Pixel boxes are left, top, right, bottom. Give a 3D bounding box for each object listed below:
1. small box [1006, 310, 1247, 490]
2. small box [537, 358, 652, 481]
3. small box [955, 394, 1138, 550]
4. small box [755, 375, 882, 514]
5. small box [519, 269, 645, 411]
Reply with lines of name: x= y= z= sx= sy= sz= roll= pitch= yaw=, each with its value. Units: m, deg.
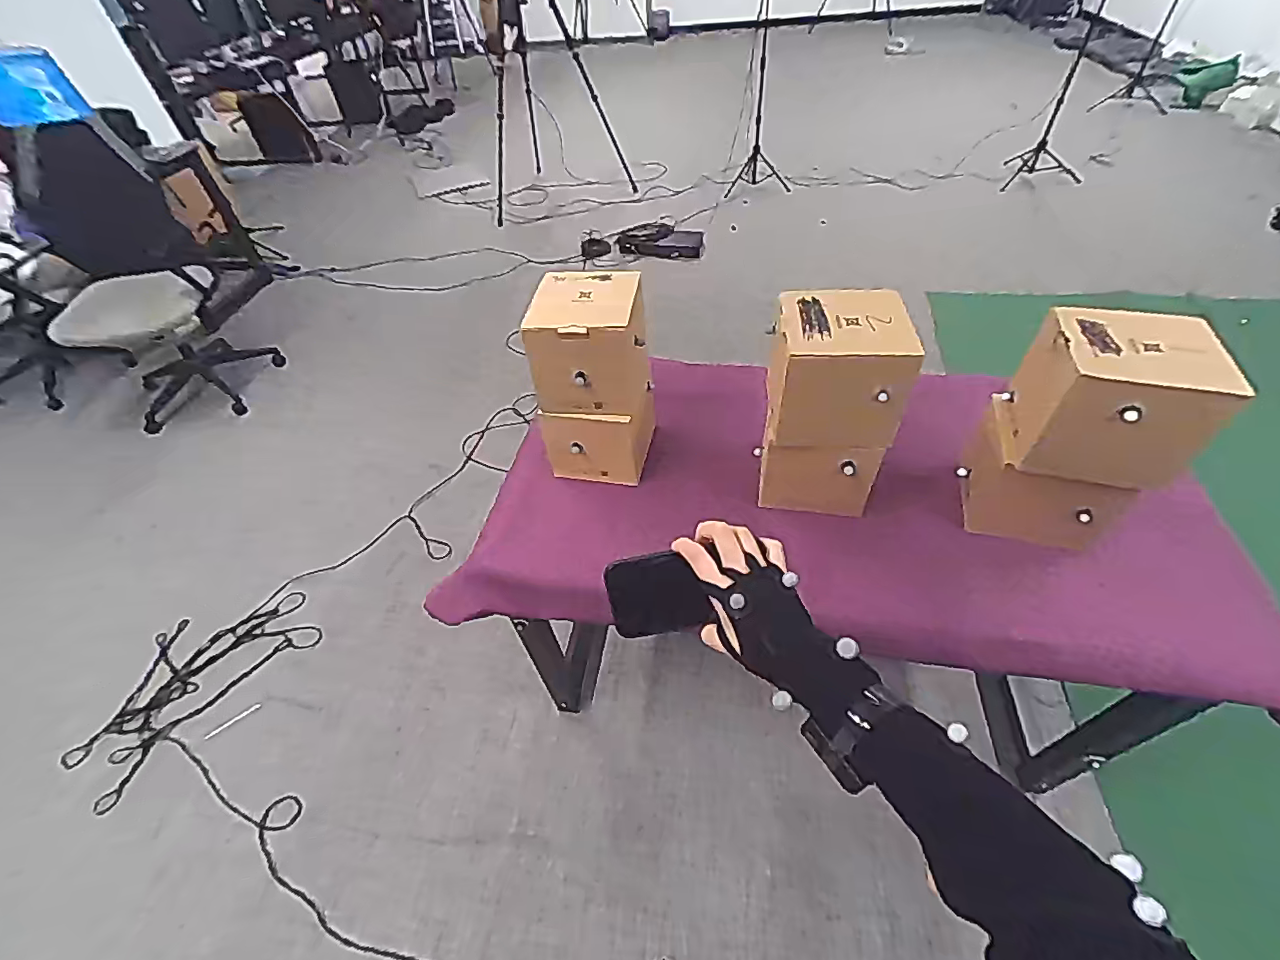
small box: x=0.624 y=-0.107 z=0.731 sx=0.179 sy=0.176 sz=0.168 roll=11 pitch=50 yaw=14
small box: x=-0.075 y=-0.117 z=1.026 sx=0.168 sy=0.176 sz=0.179 roll=7 pitch=49 yaw=11
small box: x=0.630 y=-0.010 z=0.864 sx=0.179 sy=0.176 sz=0.168 roll=11 pitch=50 yaw=15
small box: x=0.301 y=-0.059 z=0.937 sx=0.179 sy=0.176 sz=0.168 roll=6 pitch=49 yaw=11
small box: x=-0.085 y=-0.233 z=0.909 sx=0.168 sy=0.176 sz=0.179 roll=3 pitch=49 yaw=7
